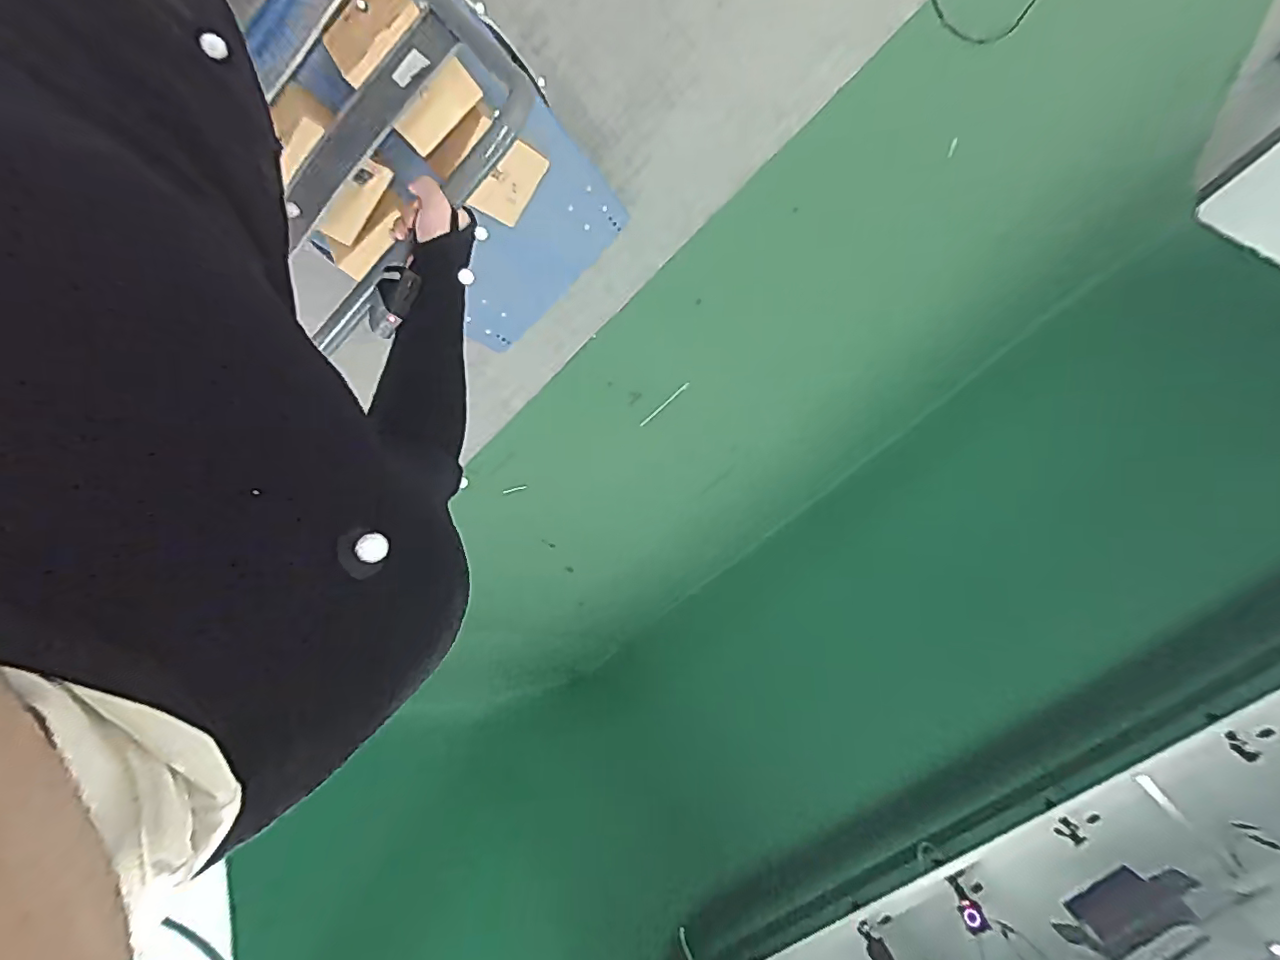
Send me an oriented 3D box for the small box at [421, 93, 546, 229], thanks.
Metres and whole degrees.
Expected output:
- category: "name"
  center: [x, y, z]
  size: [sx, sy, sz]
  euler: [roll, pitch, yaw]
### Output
- category: "small box"
  center: [-0.343, -0.692, 1.170]
  size: [0.168, 0.176, 0.179]
  euler: [-47, 150, 25]
